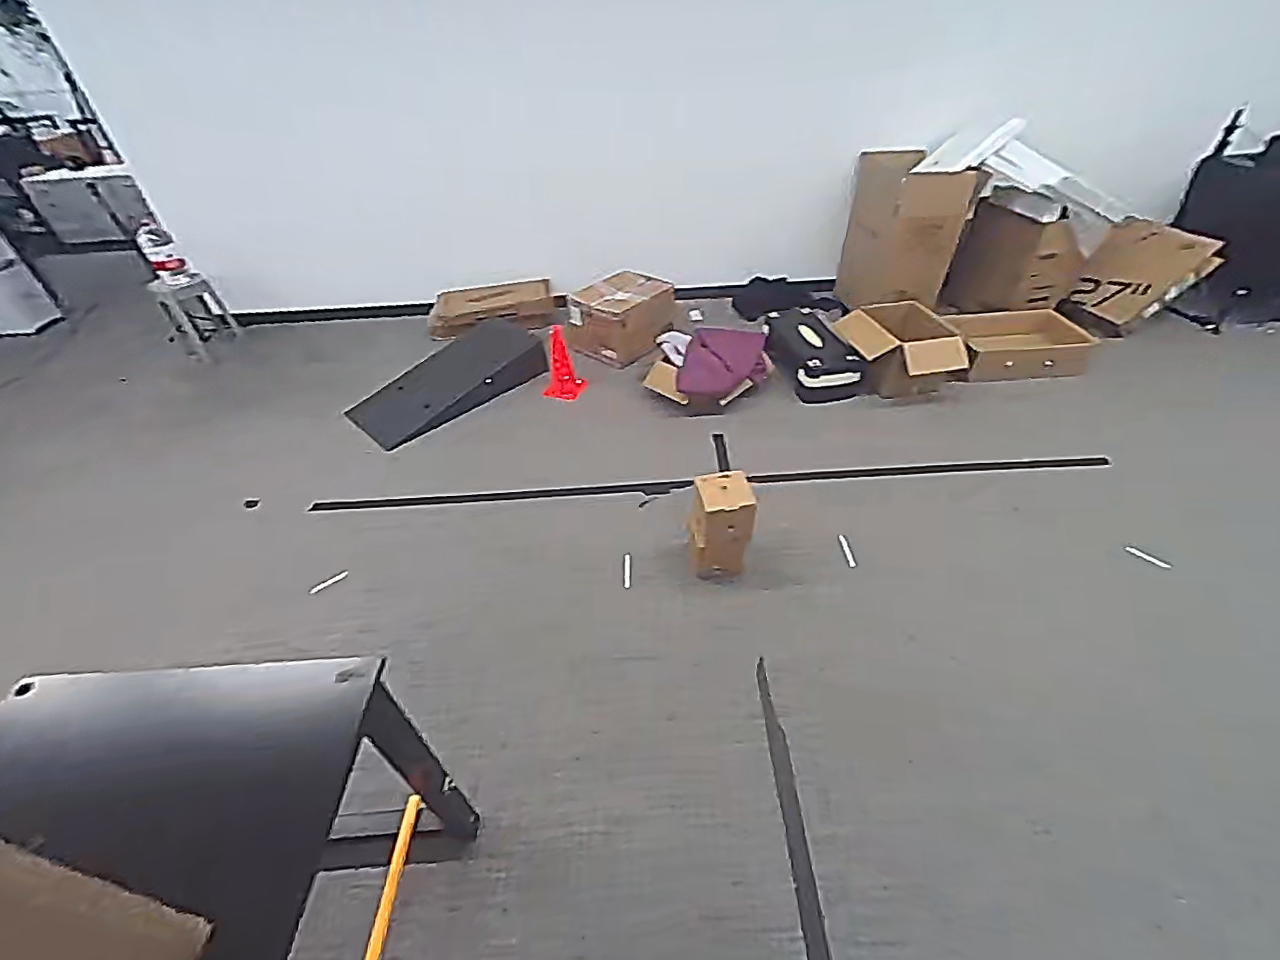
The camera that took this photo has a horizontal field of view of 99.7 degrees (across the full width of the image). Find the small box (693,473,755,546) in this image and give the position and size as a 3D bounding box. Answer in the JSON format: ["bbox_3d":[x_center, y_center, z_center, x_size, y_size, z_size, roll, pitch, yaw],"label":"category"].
[{"bbox_3d":[0.276,0.105,1.804,0.168,0.176,0.179,-8,41,-4],"label":"small box"}]

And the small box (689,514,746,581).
[{"bbox_3d":[0.267,0.230,1.912,0.168,0.176,0.179,-8,42,-3],"label":"small box"}]
